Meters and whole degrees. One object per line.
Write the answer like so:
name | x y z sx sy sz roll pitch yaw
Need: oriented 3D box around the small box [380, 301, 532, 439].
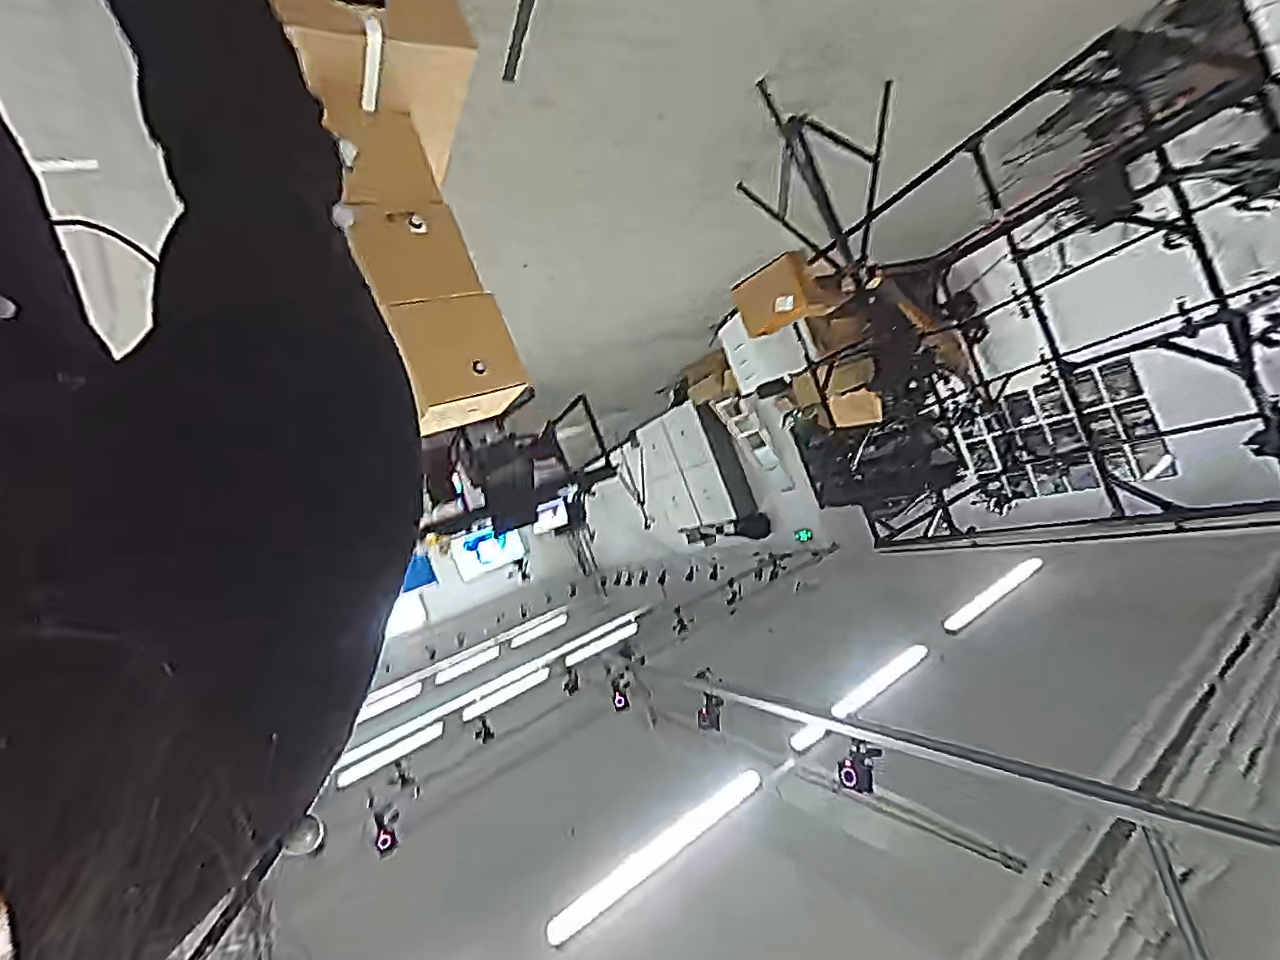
small box | -0.317 -0.192 0.928 0.179 0.176 0.168 -22 179 -34

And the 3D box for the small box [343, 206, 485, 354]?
small box | -0.391 -0.340 0.926 0.168 0.176 0.179 -22 178 -32
